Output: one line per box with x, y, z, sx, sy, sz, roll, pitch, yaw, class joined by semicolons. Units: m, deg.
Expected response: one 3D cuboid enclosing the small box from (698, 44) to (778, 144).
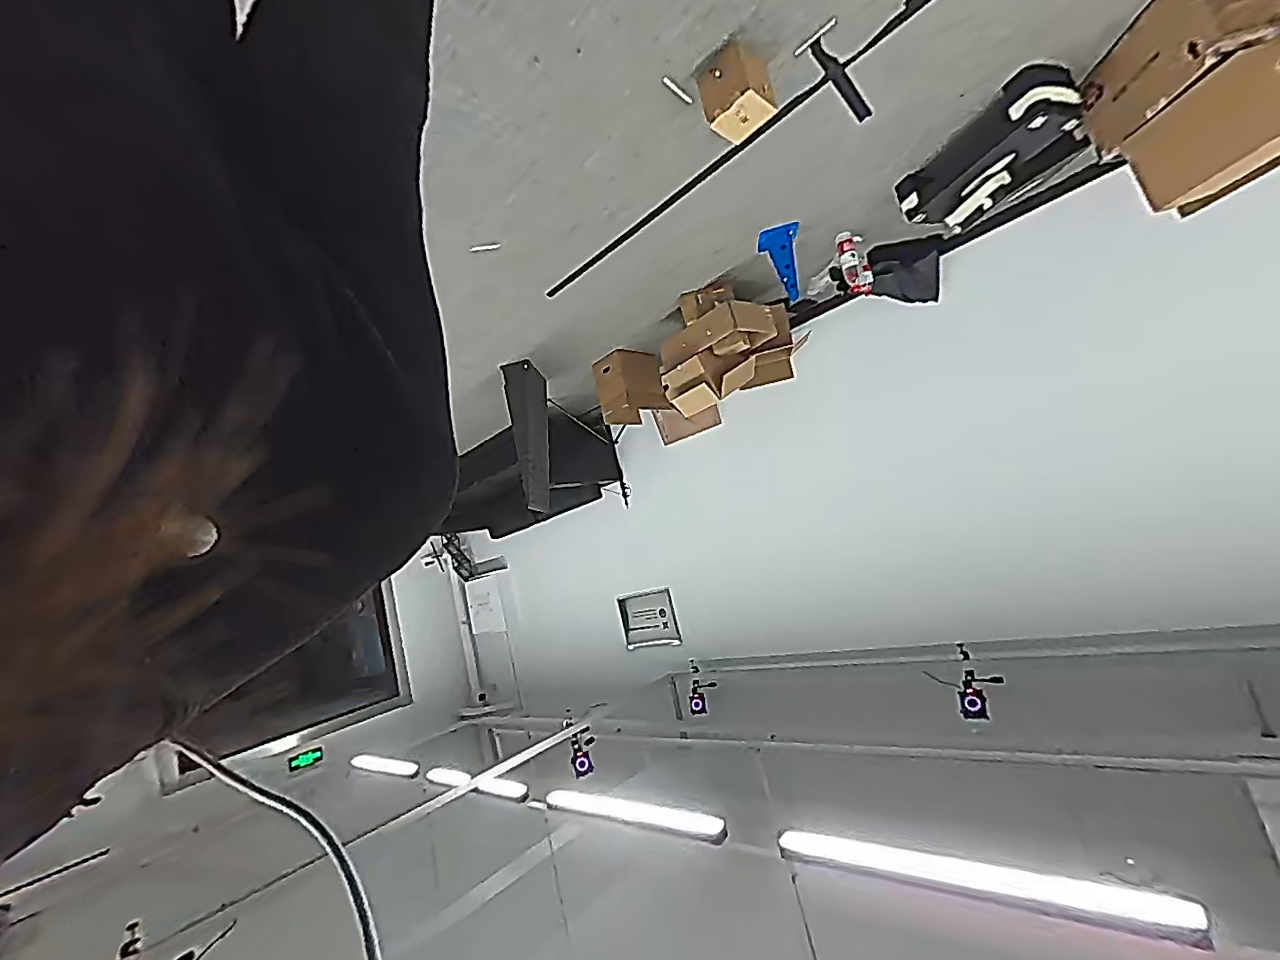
0.312;-1.236;1.732;0.179;0.176;0.168;-5;168;-46;small box
